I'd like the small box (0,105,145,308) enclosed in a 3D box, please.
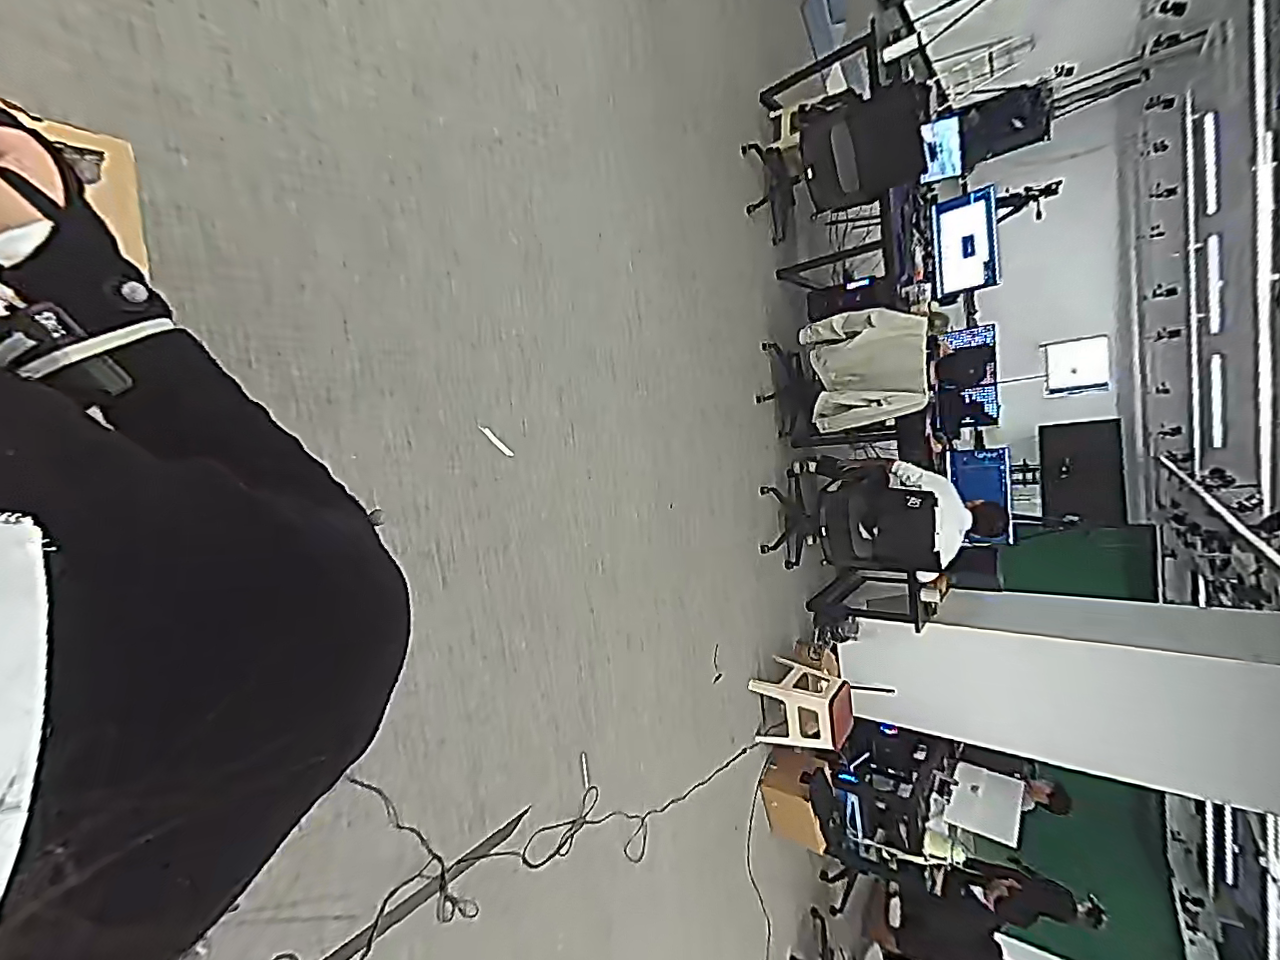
[{"bbox_3d":[-0.746,-0.326,0.663,0.168,0.176,0.179,-9,97,-53],"label":"small box"}]
